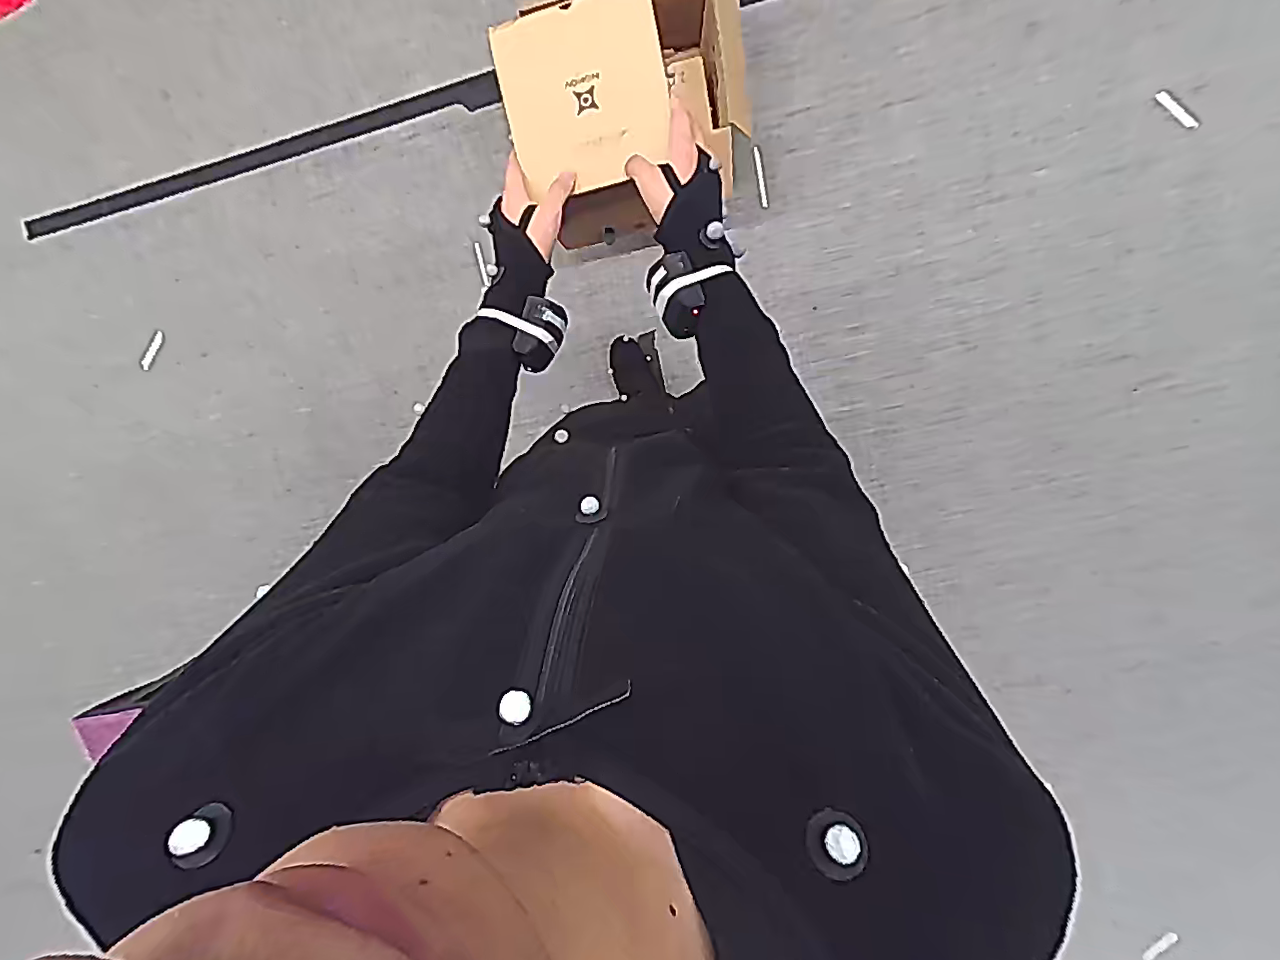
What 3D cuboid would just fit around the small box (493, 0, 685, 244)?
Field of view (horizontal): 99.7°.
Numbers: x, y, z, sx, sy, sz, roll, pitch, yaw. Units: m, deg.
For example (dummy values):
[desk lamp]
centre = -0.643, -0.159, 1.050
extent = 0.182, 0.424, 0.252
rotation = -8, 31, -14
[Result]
[small box]
centre = -0.045, -0.398, 0.617
extent = 0.168, 0.176, 0.179
rotation = -11, 96, 8
